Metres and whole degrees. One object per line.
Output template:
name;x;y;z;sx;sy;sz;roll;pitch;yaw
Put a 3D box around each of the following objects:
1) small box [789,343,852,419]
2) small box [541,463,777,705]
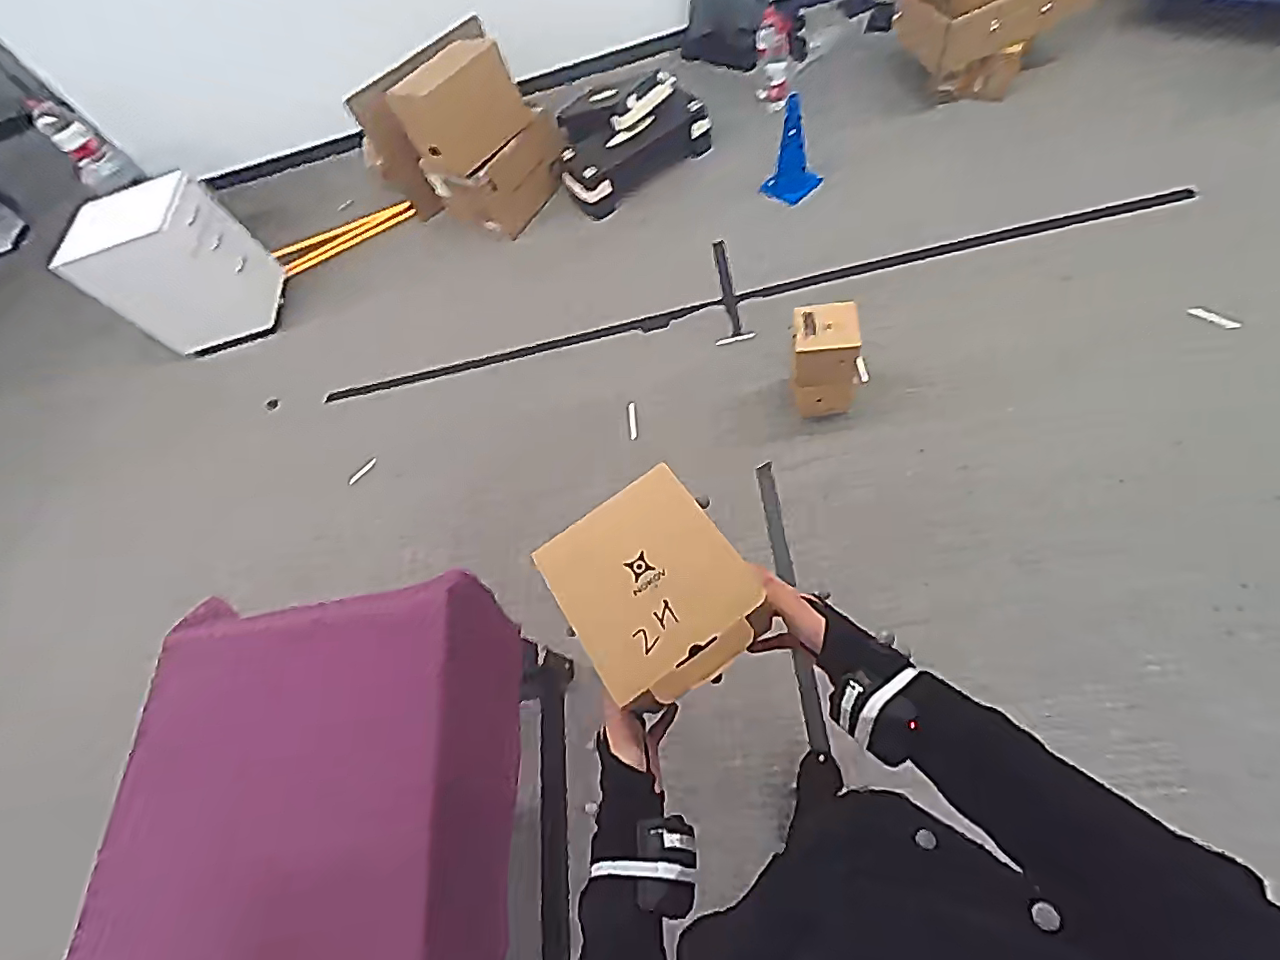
small box;0.579;-0.311;1.747;0.168;0.176;0.179;-7;62;10
small box;0.026;0.119;0.577;0.168;0.176;0.179;-34;63;-3
